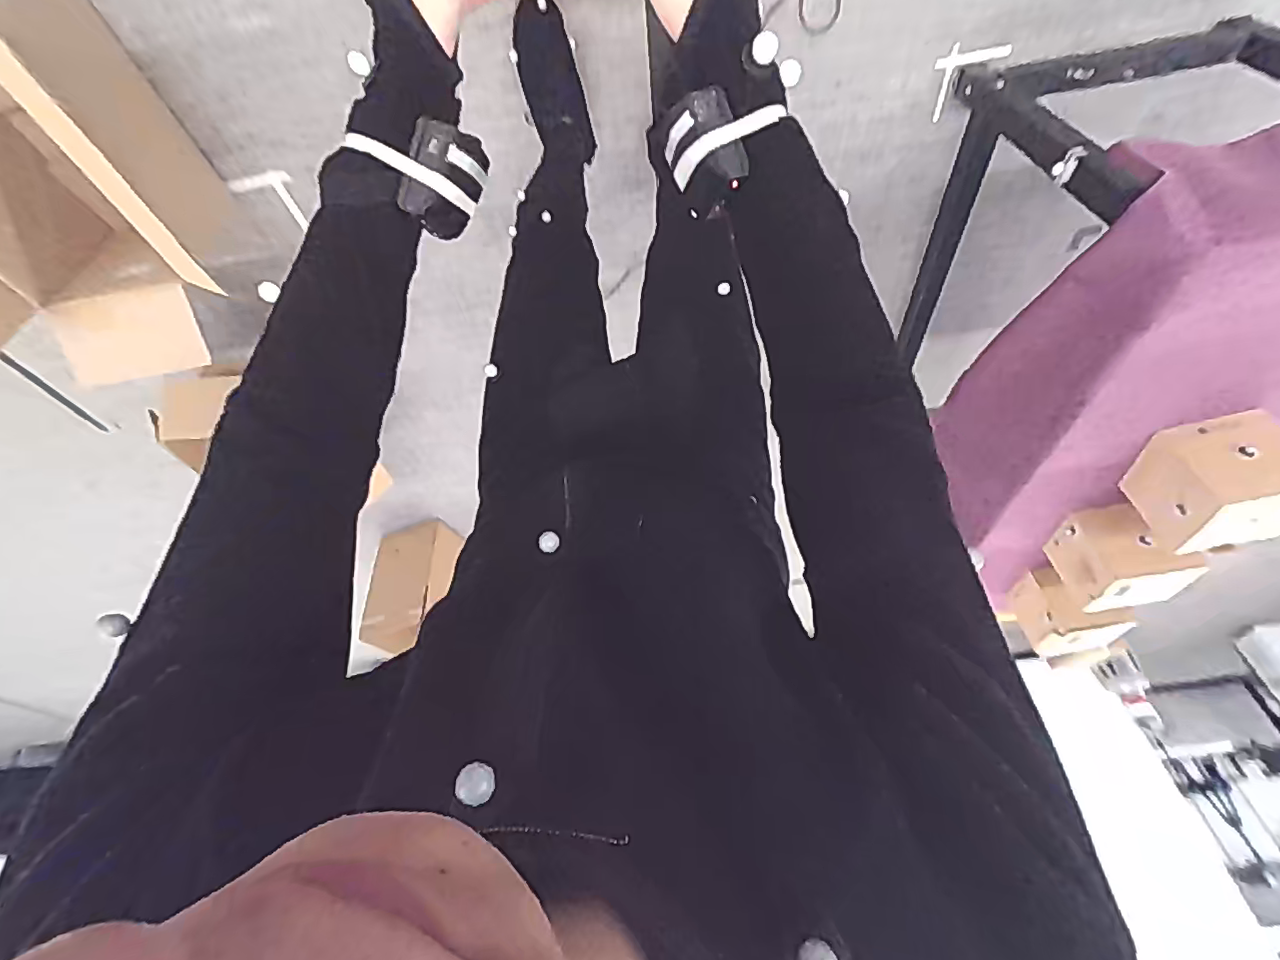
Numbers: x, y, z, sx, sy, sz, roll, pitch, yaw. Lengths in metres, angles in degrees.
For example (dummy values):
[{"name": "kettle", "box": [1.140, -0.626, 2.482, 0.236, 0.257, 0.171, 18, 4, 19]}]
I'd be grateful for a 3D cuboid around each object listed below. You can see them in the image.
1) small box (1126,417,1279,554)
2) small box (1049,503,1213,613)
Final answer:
[{"name": "small box", "box": [1.032, 0.006, 0.965, 0.168, 0.176, 0.179, -13, 142, 10]}, {"name": "small box", "box": [1.046, 0.166, 1.177, 0.179, 0.176, 0.168, -12, 142, 6]}]
